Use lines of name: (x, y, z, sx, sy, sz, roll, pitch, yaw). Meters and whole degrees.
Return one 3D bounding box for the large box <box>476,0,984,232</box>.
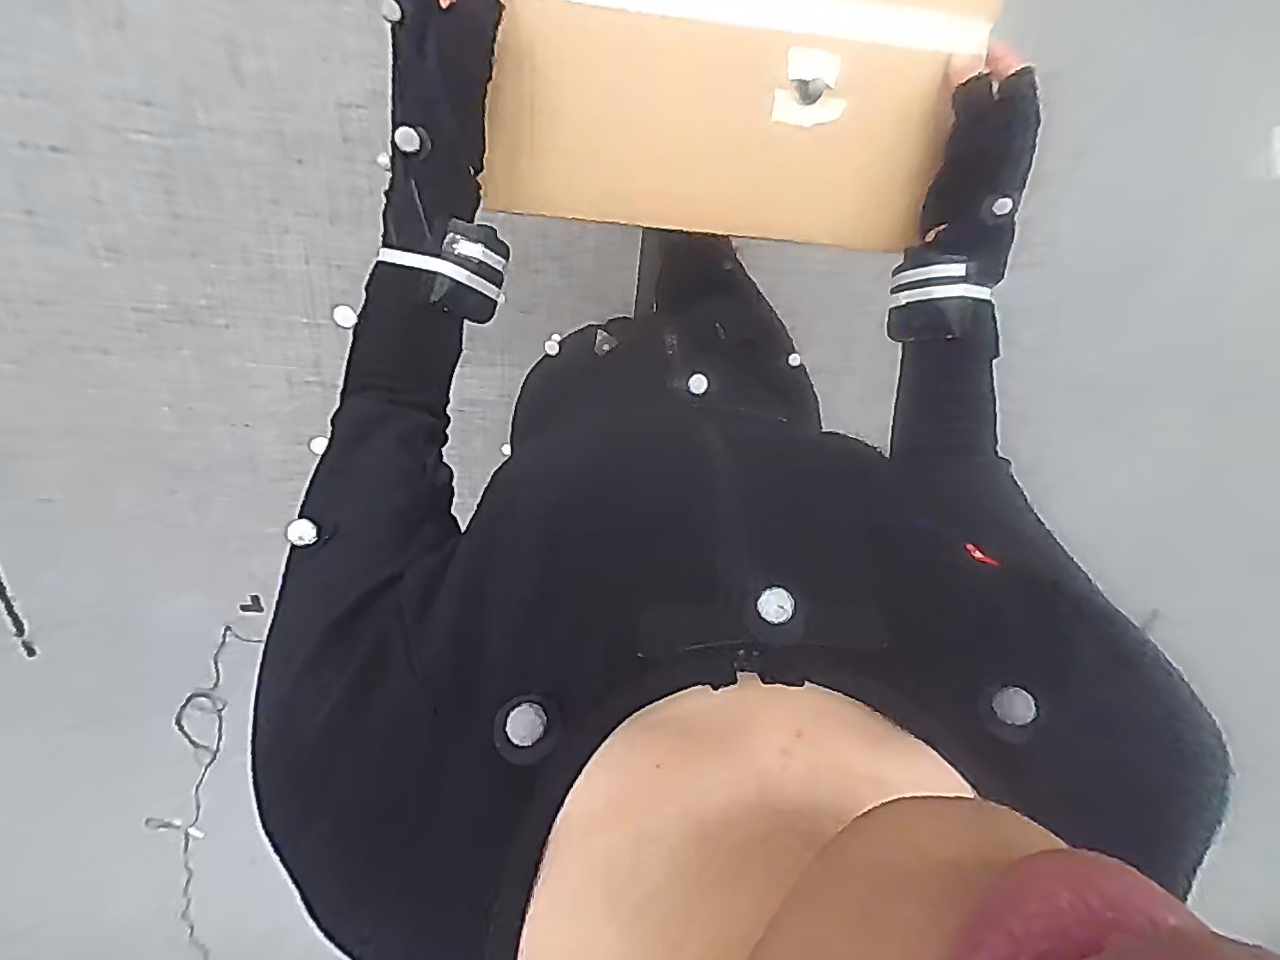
large box: (0.061, -0.443, 0.545, 0.408, 0.320, 0.320, 2, 120, -6)
